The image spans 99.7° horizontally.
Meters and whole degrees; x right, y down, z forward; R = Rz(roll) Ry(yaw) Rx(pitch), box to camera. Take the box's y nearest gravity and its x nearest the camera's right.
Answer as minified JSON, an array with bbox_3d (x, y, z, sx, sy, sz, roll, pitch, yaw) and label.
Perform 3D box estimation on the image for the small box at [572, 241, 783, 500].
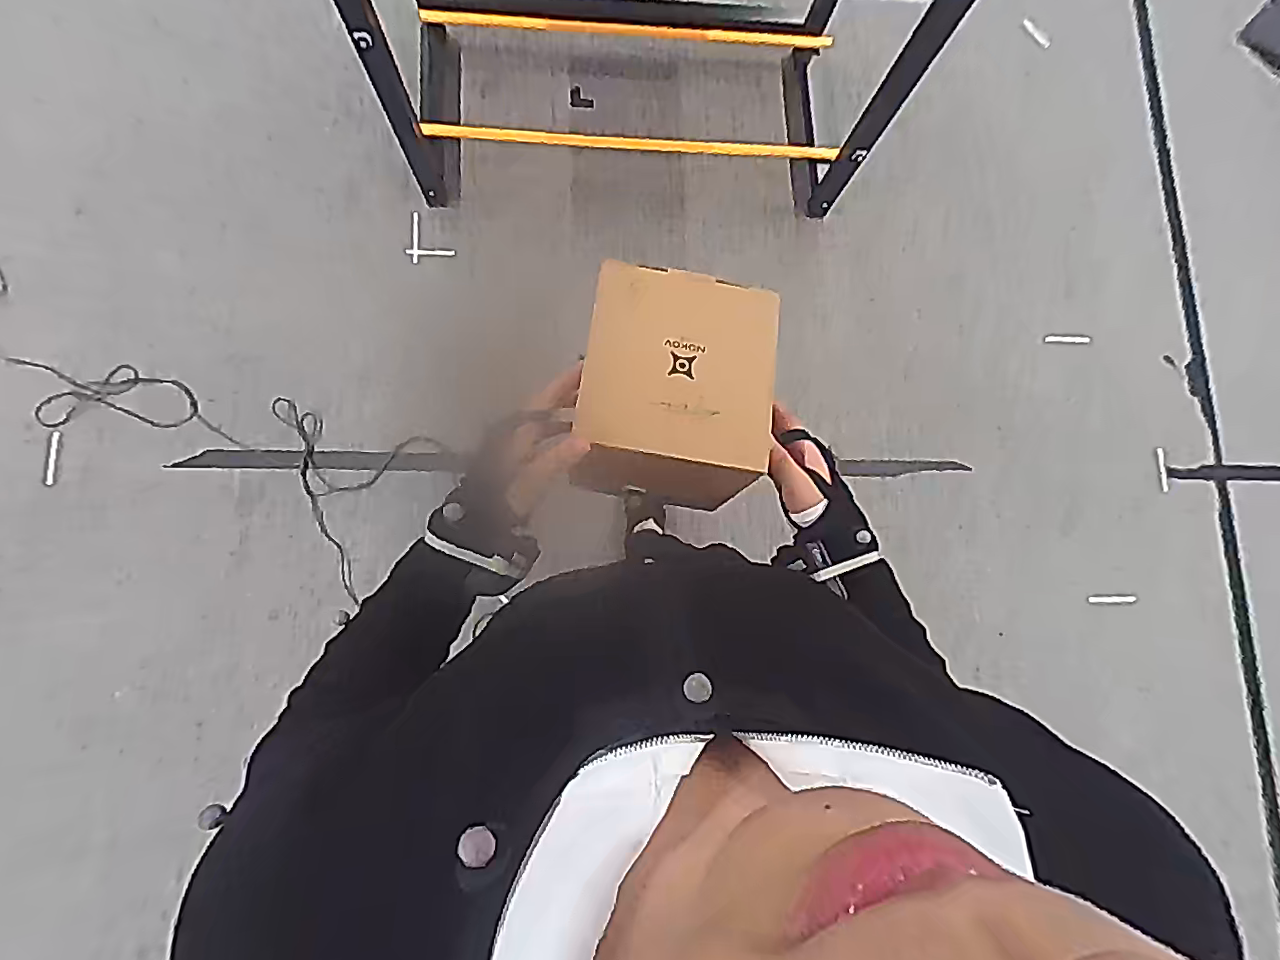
[{"bbox_3d":[0.027,-0.092,0.530,0.168,0.176,0.179,10,75,-5],"label":"small box"}]
